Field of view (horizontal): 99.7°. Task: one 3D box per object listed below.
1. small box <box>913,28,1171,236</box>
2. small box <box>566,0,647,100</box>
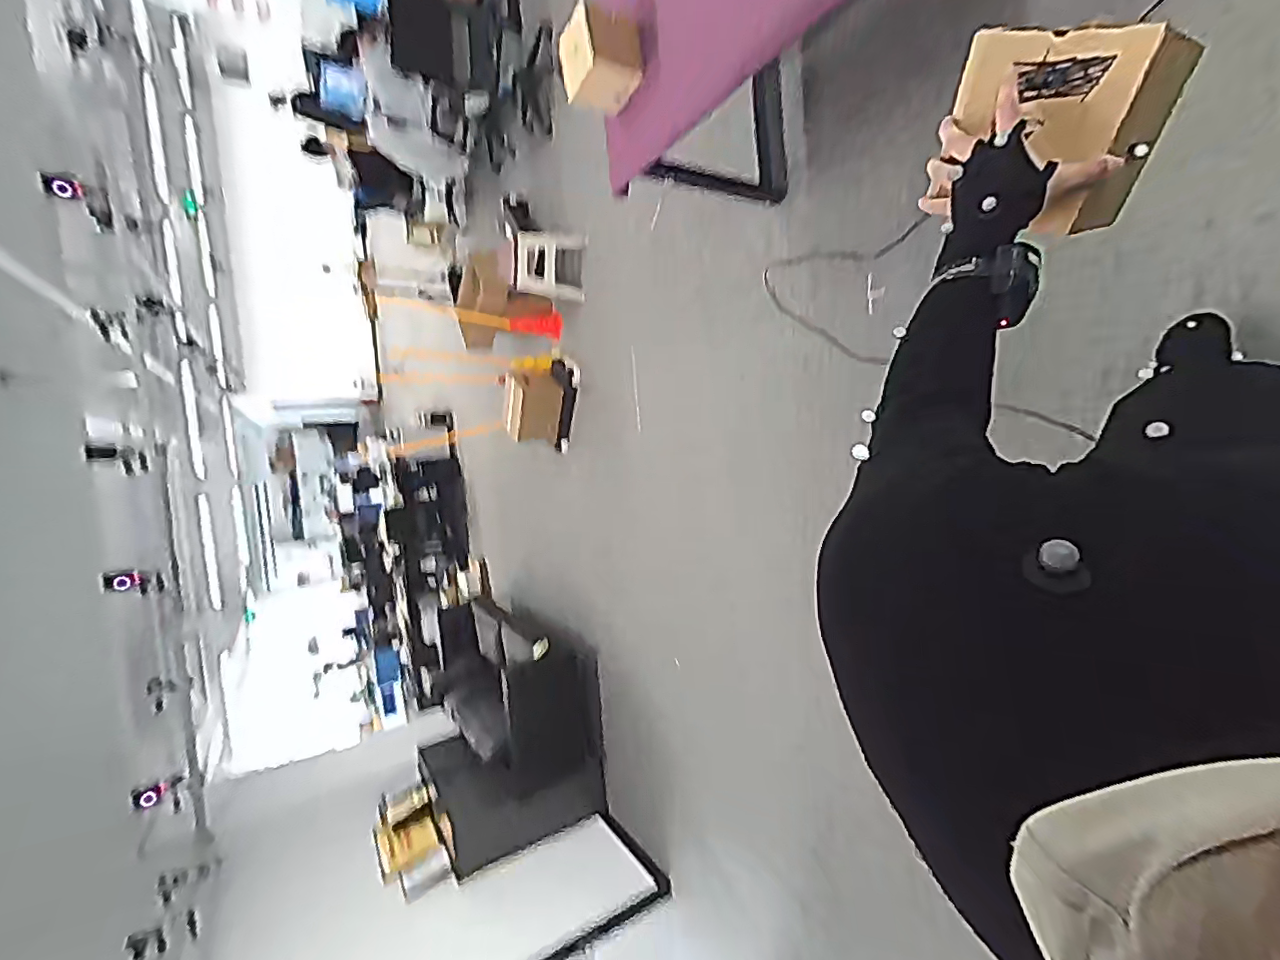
[{"bbox_3d":[0.459,-0.399,0.626,0.168,0.176,0.179,37,138,38],"label":"small box"},{"bbox_3d":[-0.097,-1.257,1.572,0.168,0.176,0.179,-8,89,59],"label":"small box"}]
